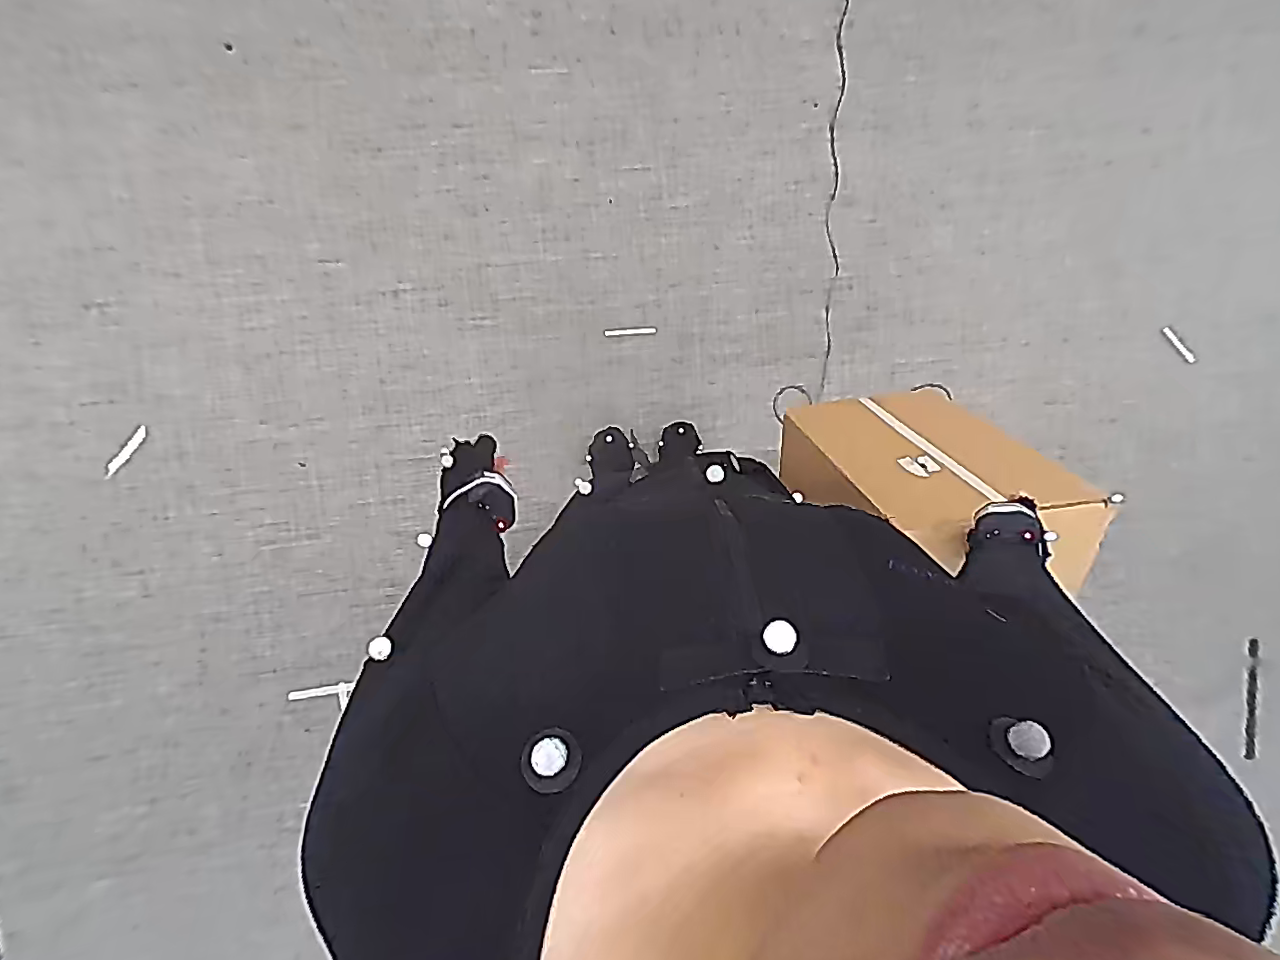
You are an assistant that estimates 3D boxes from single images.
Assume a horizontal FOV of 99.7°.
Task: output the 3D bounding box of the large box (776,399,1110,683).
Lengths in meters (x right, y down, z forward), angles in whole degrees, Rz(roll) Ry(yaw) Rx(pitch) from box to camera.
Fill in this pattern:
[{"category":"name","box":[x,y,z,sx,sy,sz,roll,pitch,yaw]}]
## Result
[{"category":"large box","box":[0.472,0.084,0.969,0.320,0.408,0.320,-8,122,-6]}]
